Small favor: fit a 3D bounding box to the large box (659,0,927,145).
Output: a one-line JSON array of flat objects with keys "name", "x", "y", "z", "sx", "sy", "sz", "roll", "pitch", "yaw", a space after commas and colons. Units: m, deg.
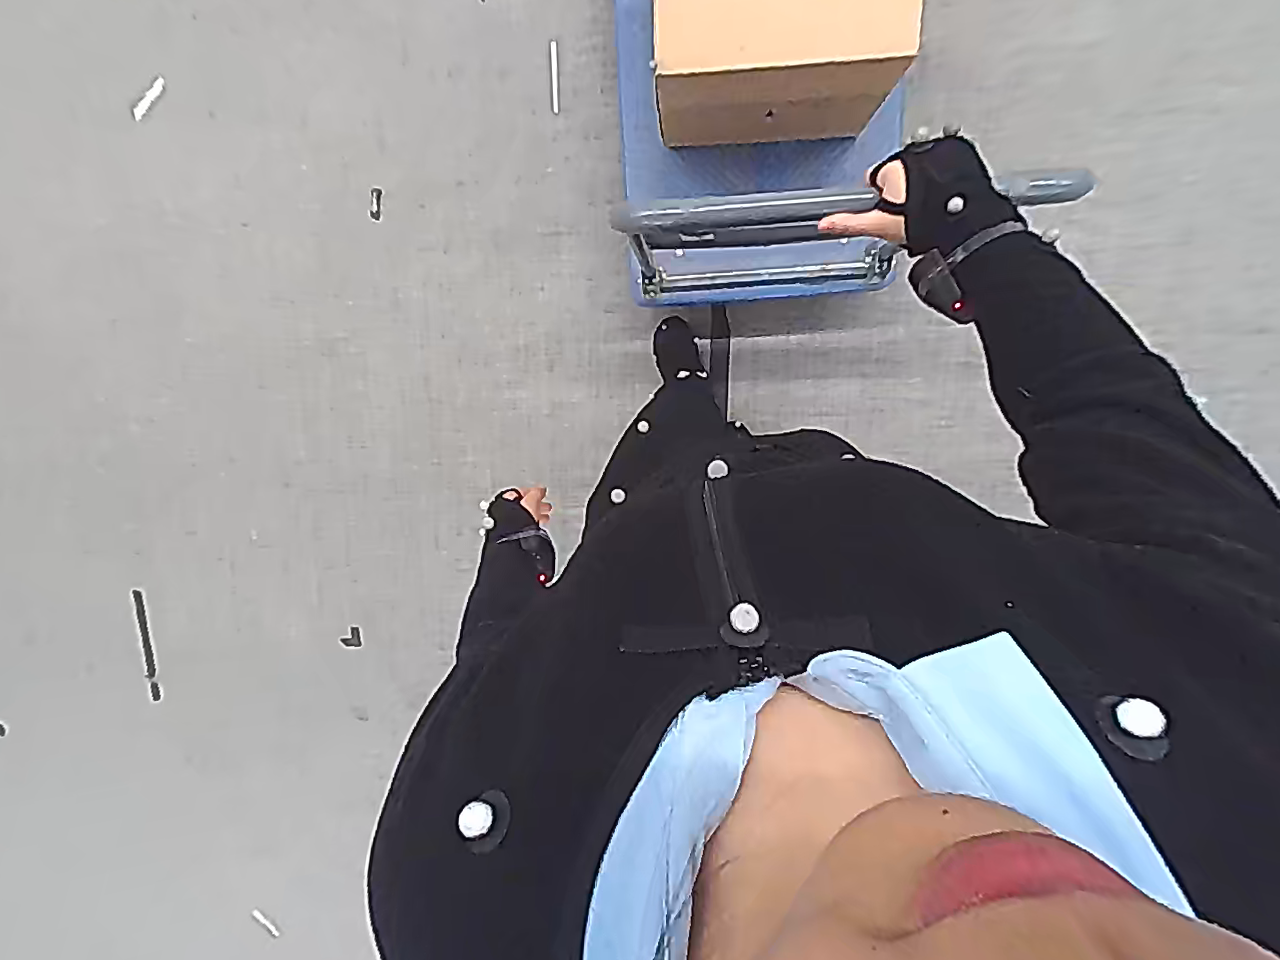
[{"name": "large box", "x": 0.244, "y": -0.822, "z": 0.947, "sx": 0.408, "sy": 0.320, "sz": 0.320, "roll": 0, "pitch": 101, "yaw": 7}]
